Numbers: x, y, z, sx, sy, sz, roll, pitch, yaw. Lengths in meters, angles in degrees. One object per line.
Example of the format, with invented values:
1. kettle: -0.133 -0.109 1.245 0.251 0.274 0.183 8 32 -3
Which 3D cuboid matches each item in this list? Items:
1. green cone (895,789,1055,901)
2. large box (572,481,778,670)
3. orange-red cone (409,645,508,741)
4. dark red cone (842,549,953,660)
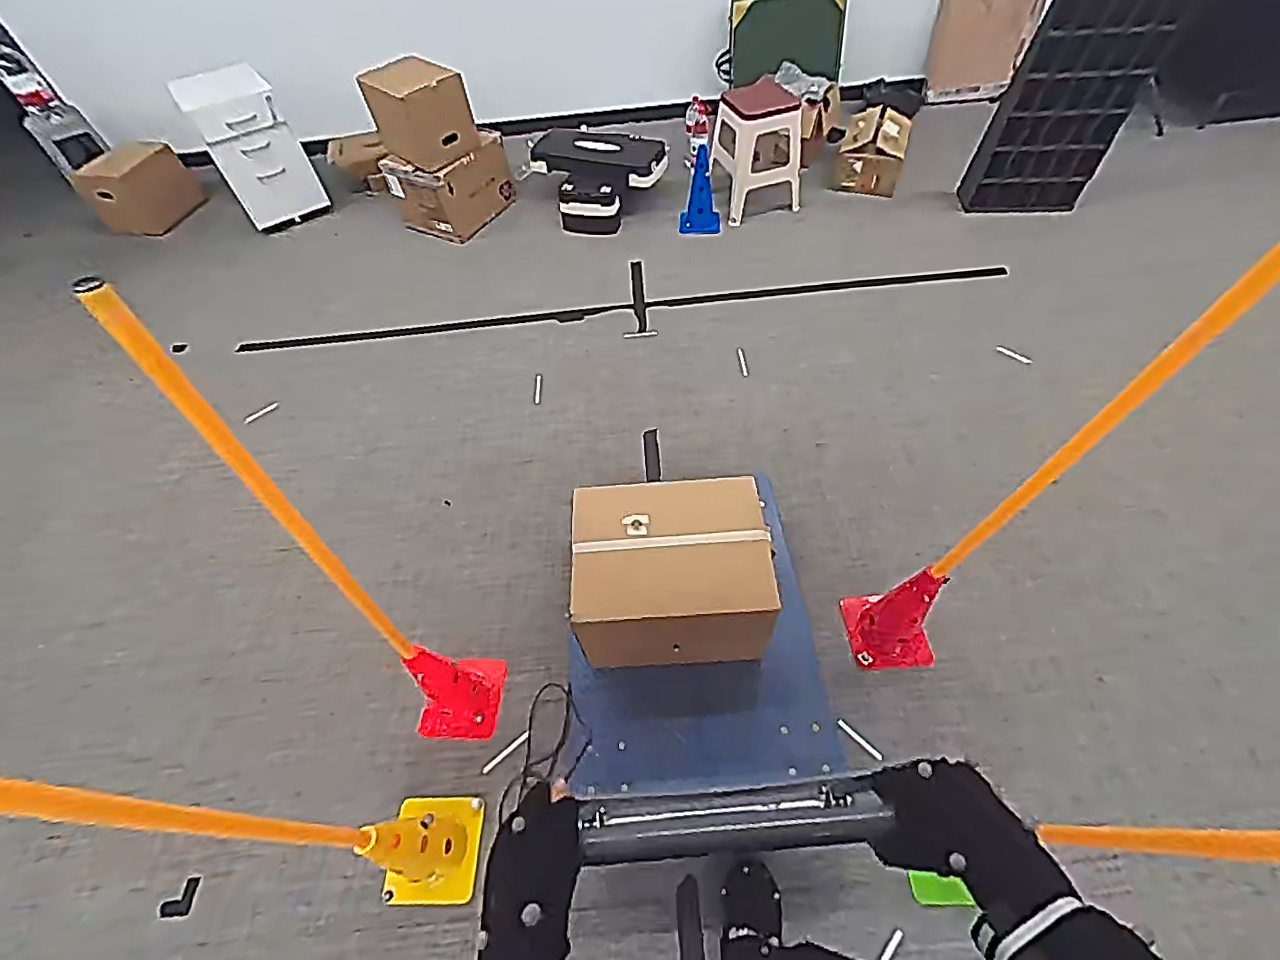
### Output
1. green cone: 0.665 0.681 1.030 0.202 0.368 0.200 -2 54 2
2. large box: 0.071 0.229 1.238 0.408 0.320 0.320 -5 55 2
3. orange-red cone: -0.466 0.471 1.287 0.198 0.360 0.199 1 52 4
4. dark red cone: 0.652 0.281 1.304 0.201 0.394 0.202 -4 54 -1
